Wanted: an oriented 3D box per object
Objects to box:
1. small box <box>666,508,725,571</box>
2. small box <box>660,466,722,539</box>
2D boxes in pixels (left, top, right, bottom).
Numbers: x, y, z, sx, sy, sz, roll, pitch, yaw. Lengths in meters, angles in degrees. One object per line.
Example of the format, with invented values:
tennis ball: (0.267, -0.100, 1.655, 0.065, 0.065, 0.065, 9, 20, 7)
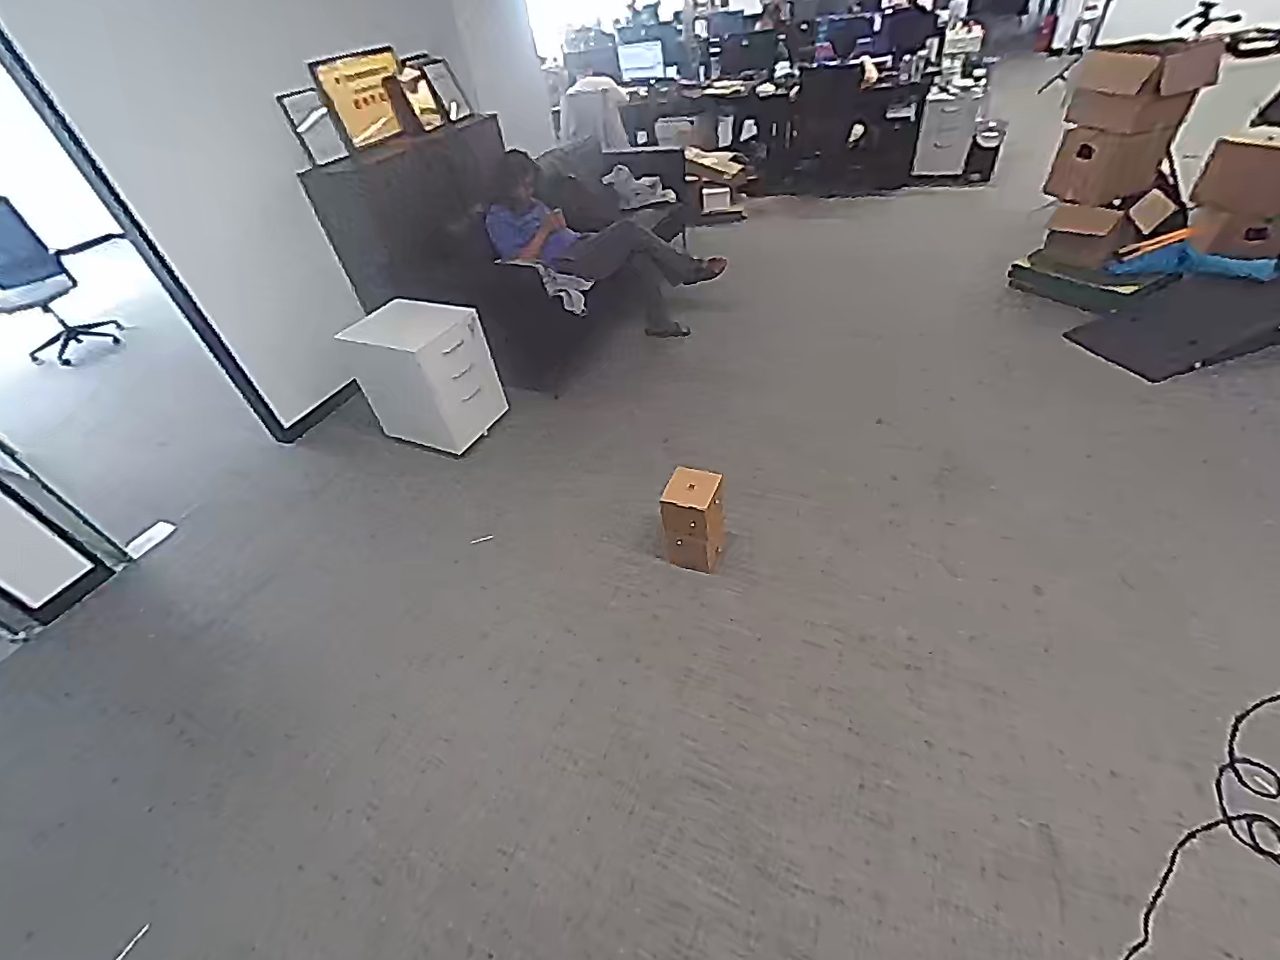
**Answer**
small box: (0.206, 0.202, 1.982, 0.168, 0.176, 0.179, 12, 45, 24)
small box: (0.184, 0.081, 1.876, 0.168, 0.176, 0.179, 11, 44, 22)
